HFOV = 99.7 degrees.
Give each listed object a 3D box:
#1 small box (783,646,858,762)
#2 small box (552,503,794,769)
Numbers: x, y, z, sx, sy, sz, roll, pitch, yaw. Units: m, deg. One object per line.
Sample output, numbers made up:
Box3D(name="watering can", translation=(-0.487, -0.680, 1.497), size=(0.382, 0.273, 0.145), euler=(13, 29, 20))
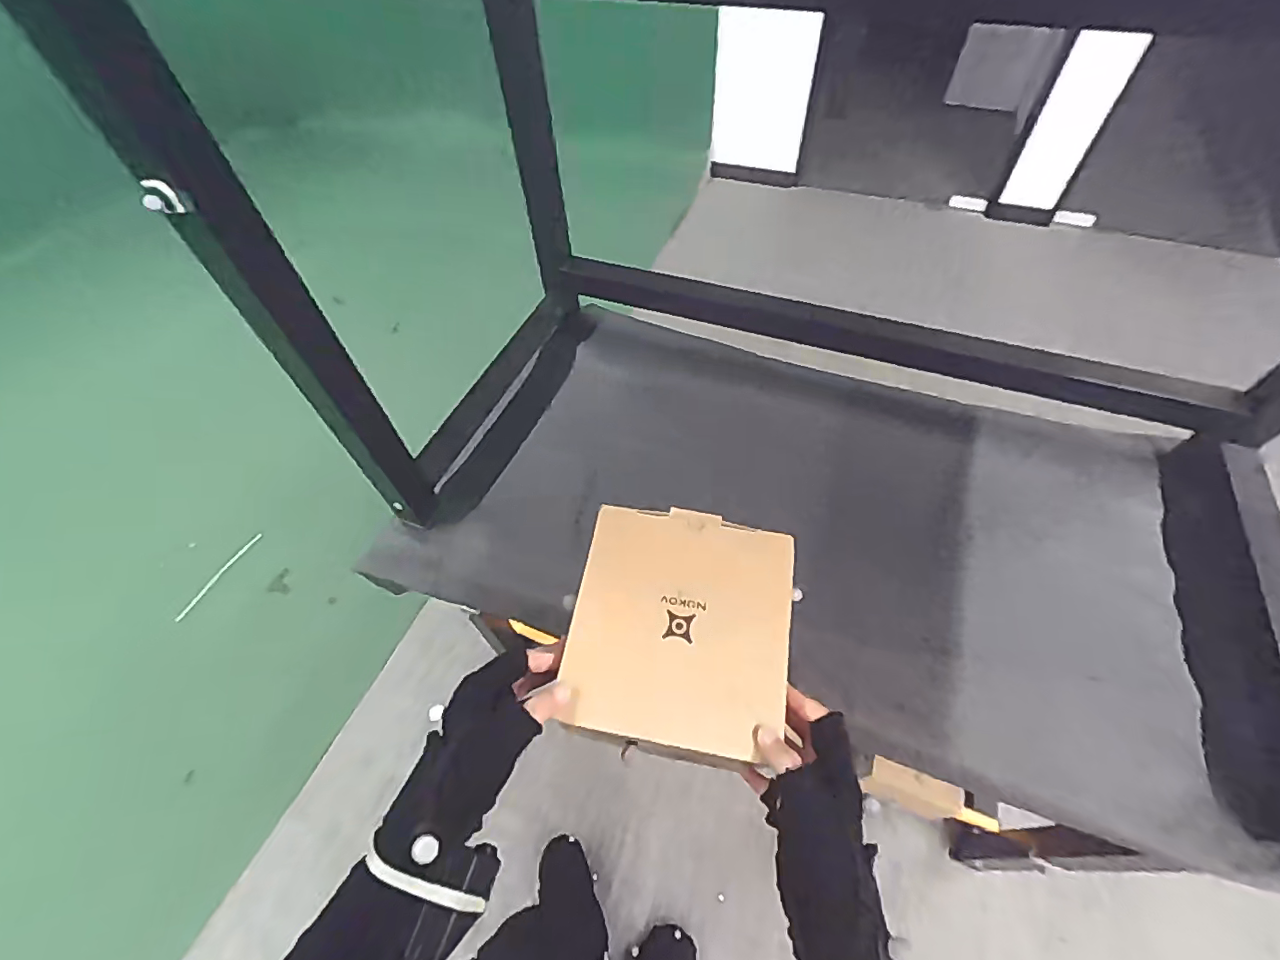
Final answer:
Box3D(name="small box", translation=(0.361, 0.496, 1.191), size=(0.168, 0.176, 0.179), euler=(17, 58, 15))
Box3D(name="small box", translation=(0.033, 0.145, 0.481), size=(0.168, 0.176, 0.179), euler=(9, 59, 5))
